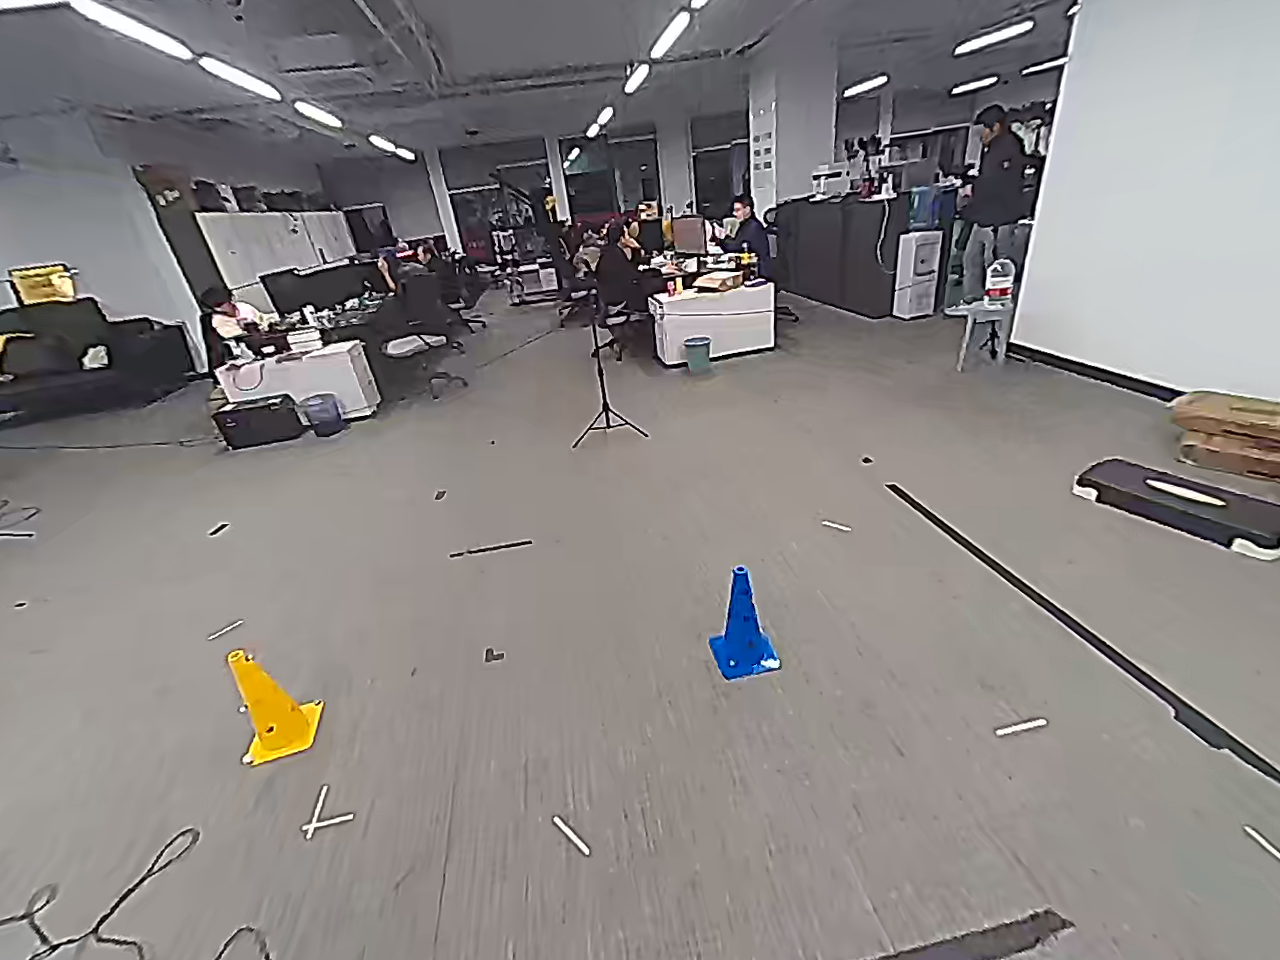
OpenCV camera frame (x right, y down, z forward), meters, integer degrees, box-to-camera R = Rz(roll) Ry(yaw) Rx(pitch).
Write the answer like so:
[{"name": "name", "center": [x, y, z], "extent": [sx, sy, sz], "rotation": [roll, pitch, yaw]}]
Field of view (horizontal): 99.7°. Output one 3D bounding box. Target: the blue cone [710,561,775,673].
[{"name": "blue cone", "center": [0.330, 0.436, 1.776], "extent": [0.193, 0.380, 0.192], "rotation": [-10, 27, -5]}]
